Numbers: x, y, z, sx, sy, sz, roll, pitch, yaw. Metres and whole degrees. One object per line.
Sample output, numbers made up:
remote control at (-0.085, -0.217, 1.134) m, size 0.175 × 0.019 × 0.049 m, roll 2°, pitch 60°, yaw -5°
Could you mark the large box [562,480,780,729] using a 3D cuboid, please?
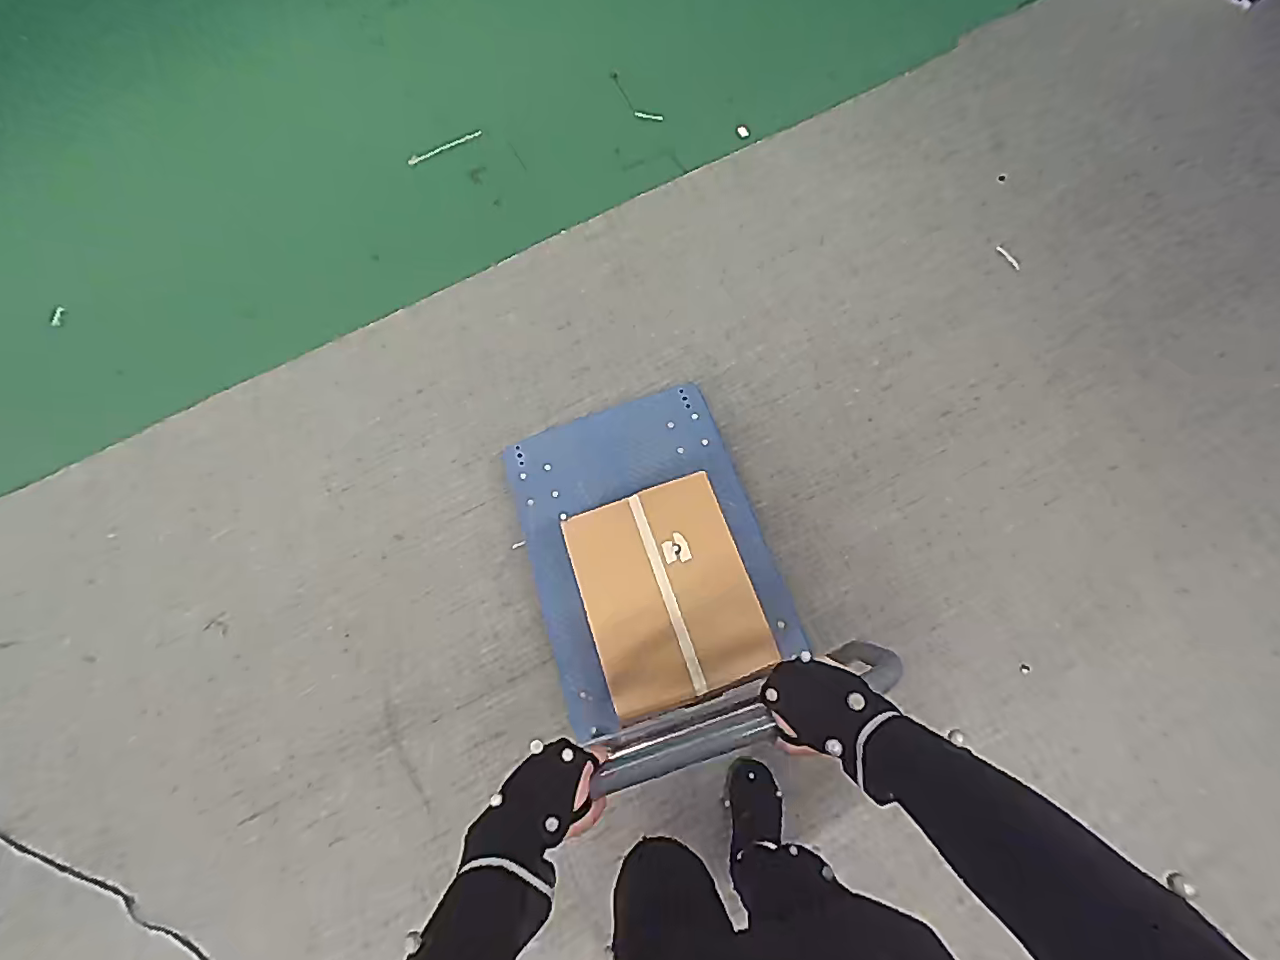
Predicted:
large box at (0.063, 0.275, 1.175) m, size 0.320 × 0.320 × 0.408 m, roll -19°, pitch 68°, yaw -2°
